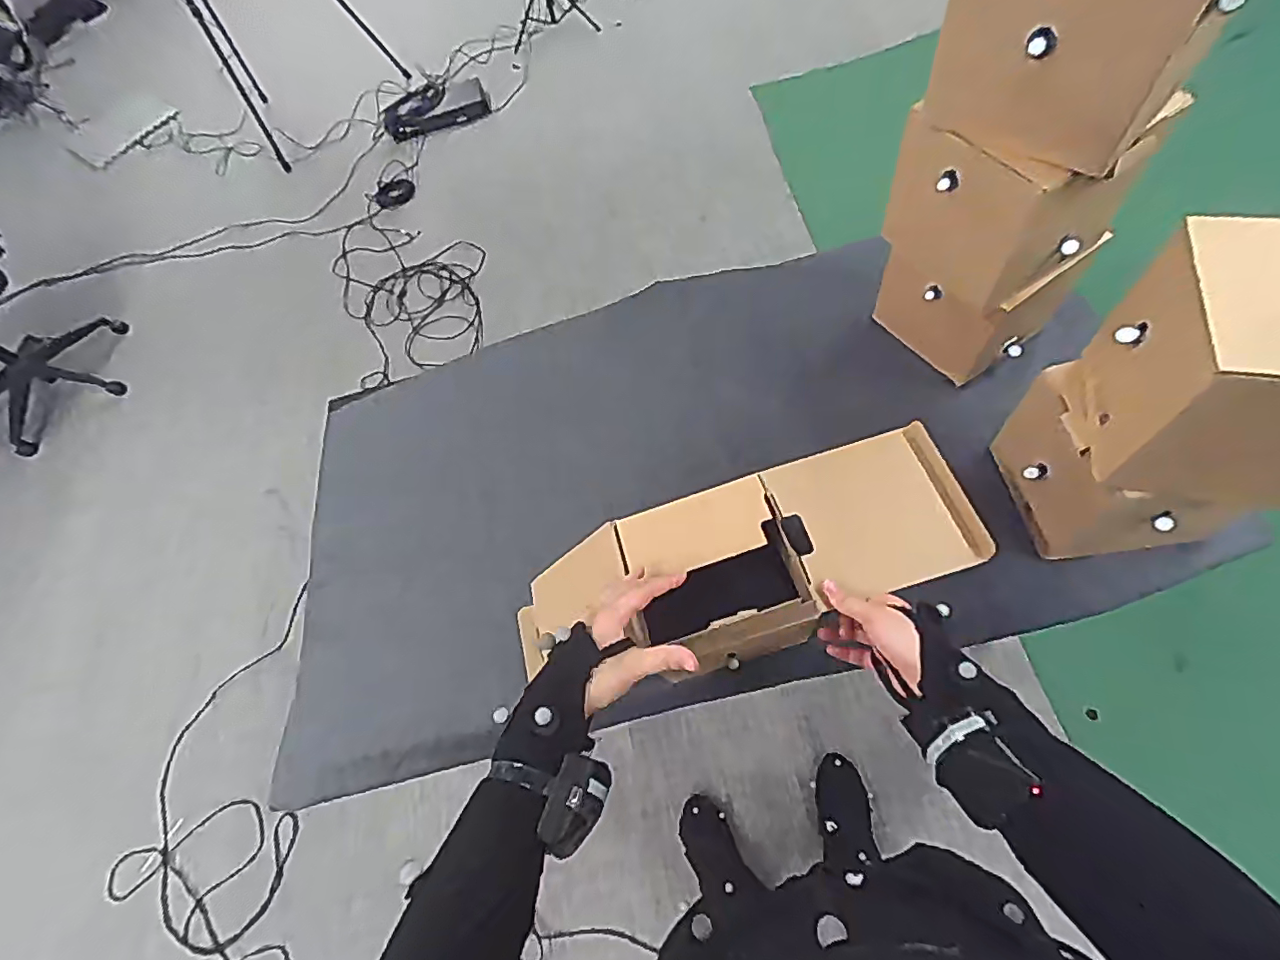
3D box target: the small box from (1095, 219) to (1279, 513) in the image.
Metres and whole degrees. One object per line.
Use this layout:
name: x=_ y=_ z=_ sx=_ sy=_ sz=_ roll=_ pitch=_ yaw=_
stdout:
small box: x=0.516 y=-0.087 z=0.447 sx=0.179 sy=0.176 sz=0.168 roll=10 pitch=64 yaw=17

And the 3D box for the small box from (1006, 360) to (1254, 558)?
small box: x=0.541 y=-0.024 z=0.597 sx=0.179 sy=0.176 sz=0.168 roll=-10 pitch=60 yaw=8

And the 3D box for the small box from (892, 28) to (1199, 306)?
small box: x=0.407 y=-0.329 z=0.588 sx=0.168 sy=0.176 sz=0.179 roll=-32 pitch=63 yaw=-1

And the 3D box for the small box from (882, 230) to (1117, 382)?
small box: x=0.461 y=-0.268 z=0.733 sx=0.168 sy=0.176 sz=0.179 roll=-36 pitch=65 yaw=-3

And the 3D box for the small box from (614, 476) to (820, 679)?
small box: x=0.087 y=0.121 z=0.626 sx=0.179 sy=0.176 sz=0.168 roll=-19 pitch=63 yaw=5
